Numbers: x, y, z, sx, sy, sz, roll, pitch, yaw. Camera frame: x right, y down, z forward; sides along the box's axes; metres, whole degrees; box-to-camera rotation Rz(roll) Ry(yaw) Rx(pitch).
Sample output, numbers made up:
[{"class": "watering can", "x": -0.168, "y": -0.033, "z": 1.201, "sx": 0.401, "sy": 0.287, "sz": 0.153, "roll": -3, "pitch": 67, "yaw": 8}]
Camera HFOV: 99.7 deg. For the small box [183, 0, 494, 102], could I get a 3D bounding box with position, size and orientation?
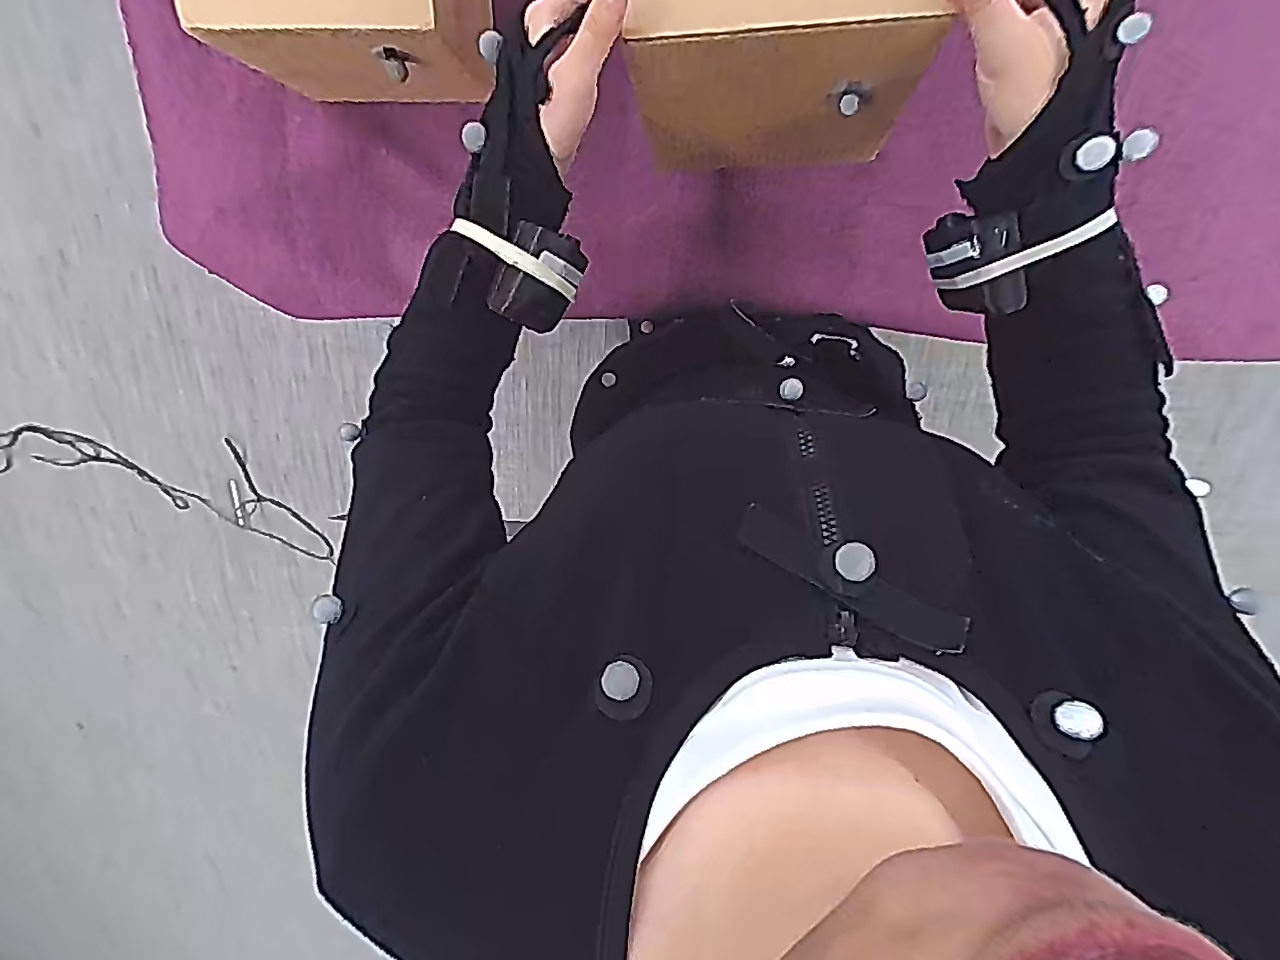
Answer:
[{"class": "small box", "x": -0.217, "y": -0.410, "z": 0.411, "sx": 0.179, "sy": 0.176, "sz": 0.168, "roll": 1, "pitch": 111, "yaw": 1}]
